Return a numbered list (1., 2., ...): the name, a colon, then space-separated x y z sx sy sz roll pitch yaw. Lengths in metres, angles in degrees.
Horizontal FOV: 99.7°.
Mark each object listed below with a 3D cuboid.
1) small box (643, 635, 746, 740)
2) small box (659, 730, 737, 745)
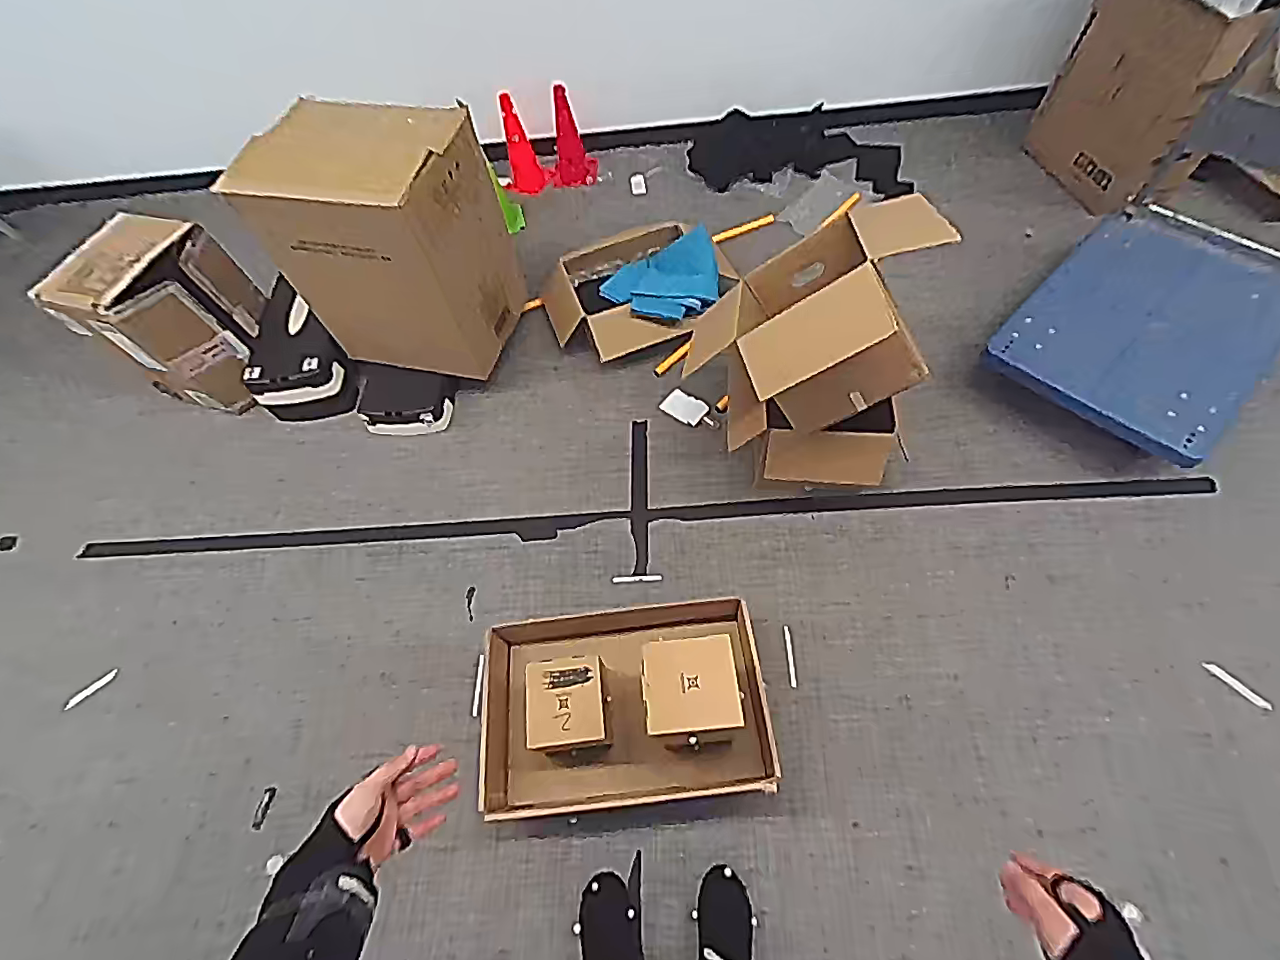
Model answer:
1. small box: 0.104 0.414 1.072 0.179 0.176 0.168 -7 60 3
2. small box: 0.122 0.492 1.214 0.168 0.176 0.179 -6 59 2
